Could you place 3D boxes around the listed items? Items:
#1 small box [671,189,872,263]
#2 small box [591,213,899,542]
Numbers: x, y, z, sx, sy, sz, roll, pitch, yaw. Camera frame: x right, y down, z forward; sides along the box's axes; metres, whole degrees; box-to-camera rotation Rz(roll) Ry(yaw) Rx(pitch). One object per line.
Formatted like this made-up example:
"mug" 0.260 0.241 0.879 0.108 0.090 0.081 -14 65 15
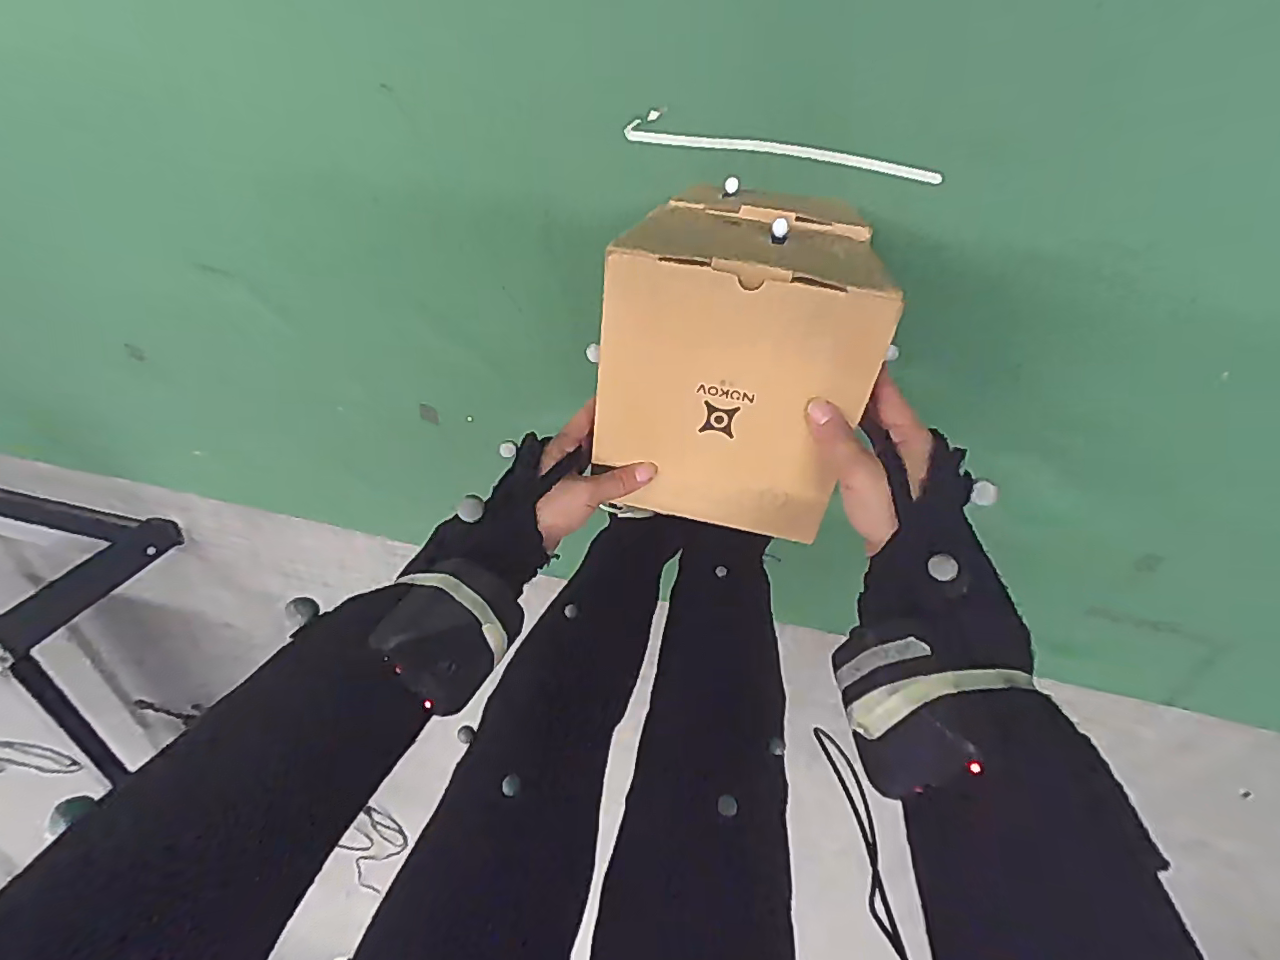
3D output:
"small box" 0.112 -0.184 0.546 0.168 0.176 0.179 11 125 7
"small box" 0.070 -0.086 0.409 0.168 0.176 0.179 12 124 6
